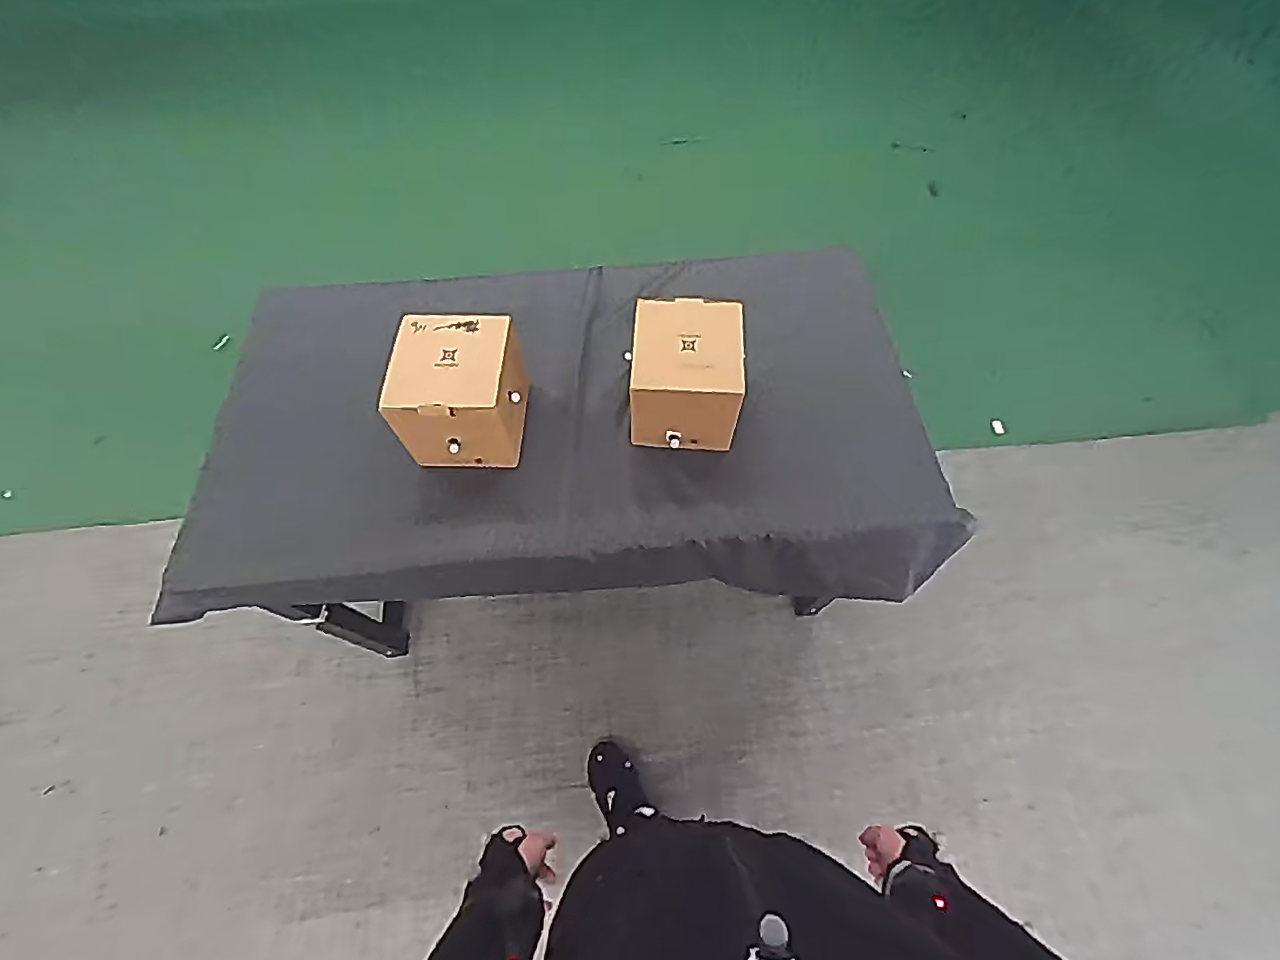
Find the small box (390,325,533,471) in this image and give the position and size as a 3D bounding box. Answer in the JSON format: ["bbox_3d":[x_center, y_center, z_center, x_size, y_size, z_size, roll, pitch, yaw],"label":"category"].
[{"bbox_3d":[-0.272,-0.123,0.868,0.168,0.176,0.179,-2,62,0],"label":"small box"}]

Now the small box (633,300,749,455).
[{"bbox_3d":[0.080,-0.161,0.866,0.168,0.176,0.179,4,62,4],"label":"small box"}]
